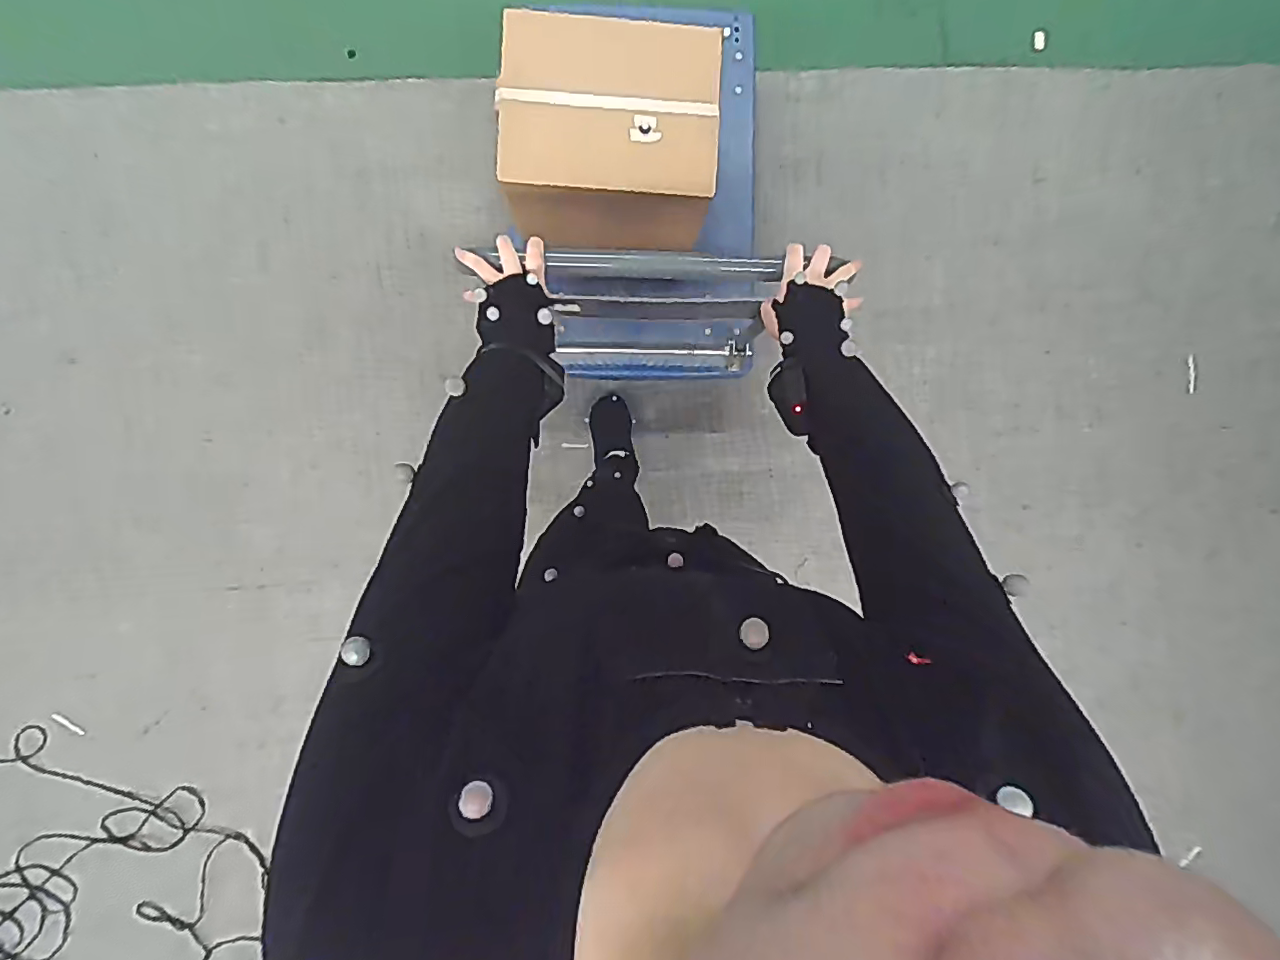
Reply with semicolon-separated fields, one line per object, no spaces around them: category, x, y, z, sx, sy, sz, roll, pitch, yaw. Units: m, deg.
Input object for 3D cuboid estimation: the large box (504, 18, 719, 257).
large box;-0.063;-0.700;1.161;0.408;0.320;0.320;3;91;-4
